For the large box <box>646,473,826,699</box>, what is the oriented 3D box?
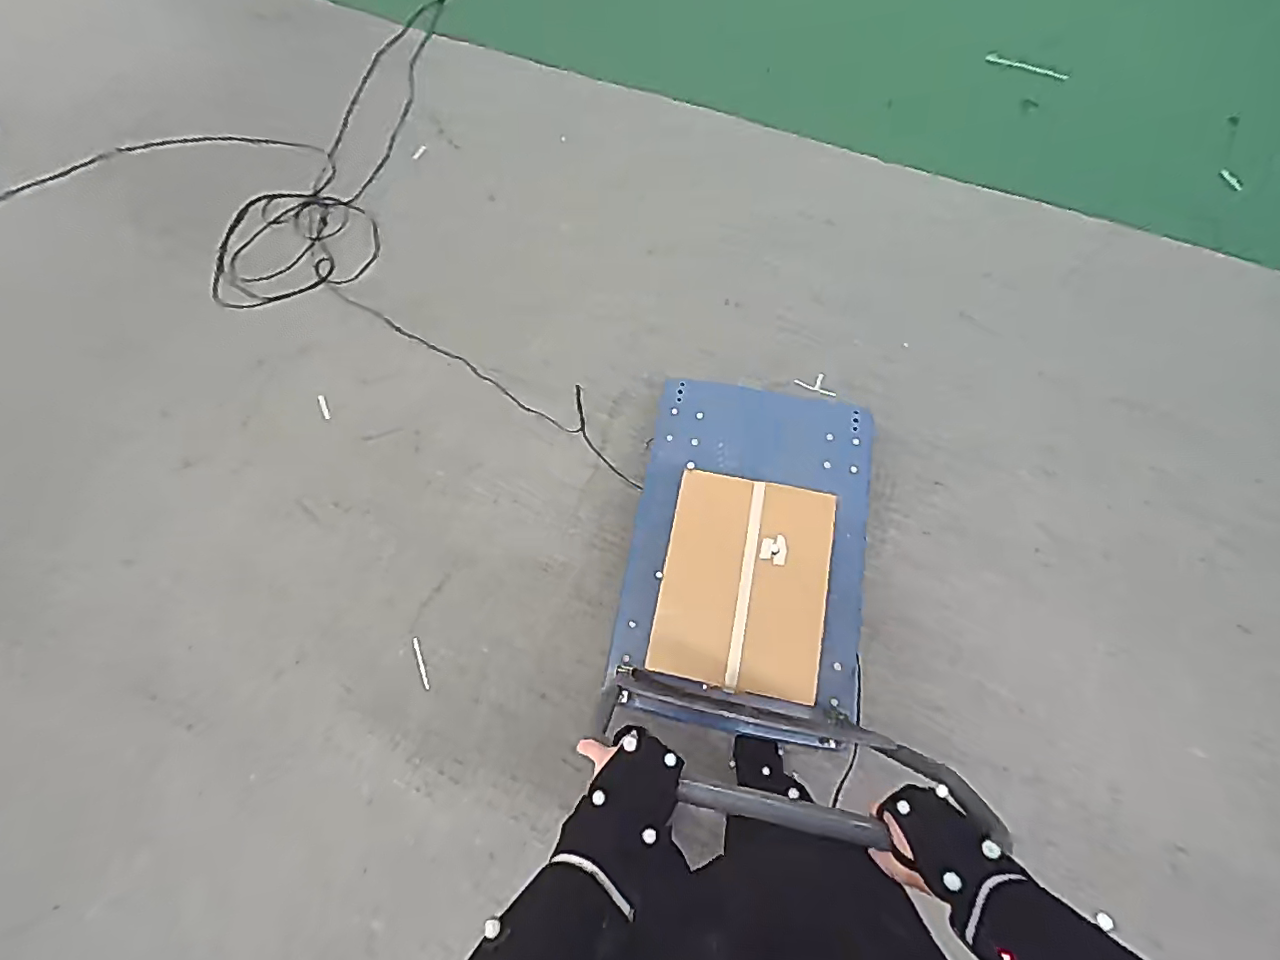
[{"bbox_3d":[0.203,0.245,1.200,0.320,0.320,0.408,11,71,5],"label":"large box"}]
